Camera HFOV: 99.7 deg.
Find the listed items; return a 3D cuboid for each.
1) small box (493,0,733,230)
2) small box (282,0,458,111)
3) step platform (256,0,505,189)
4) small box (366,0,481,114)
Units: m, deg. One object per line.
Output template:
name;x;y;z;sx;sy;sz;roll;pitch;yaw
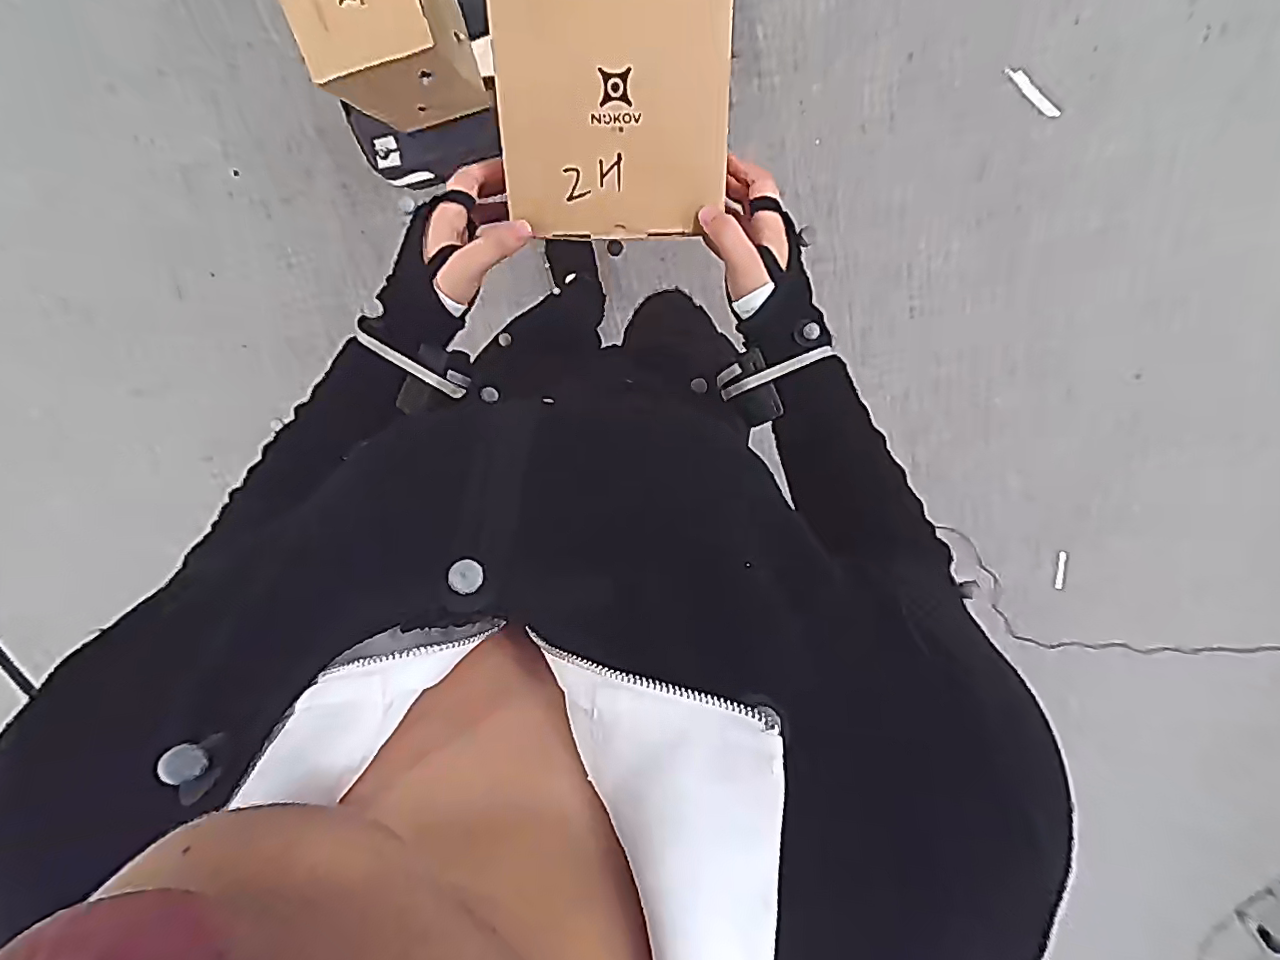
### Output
small box;-0.024;-0.310;0.456;0.168;0.176;0.179;-2;114;-3
small box;-0.378;-0.658;0.768;0.179;0.176;0.168;-15;112;4
step platform;-0.220;-0.713;0.890;0.684;0.204;0.286;-13;113;3
small box;-0.384;-0.724;0.917;0.179;0.176;0.168;-14;114;4
